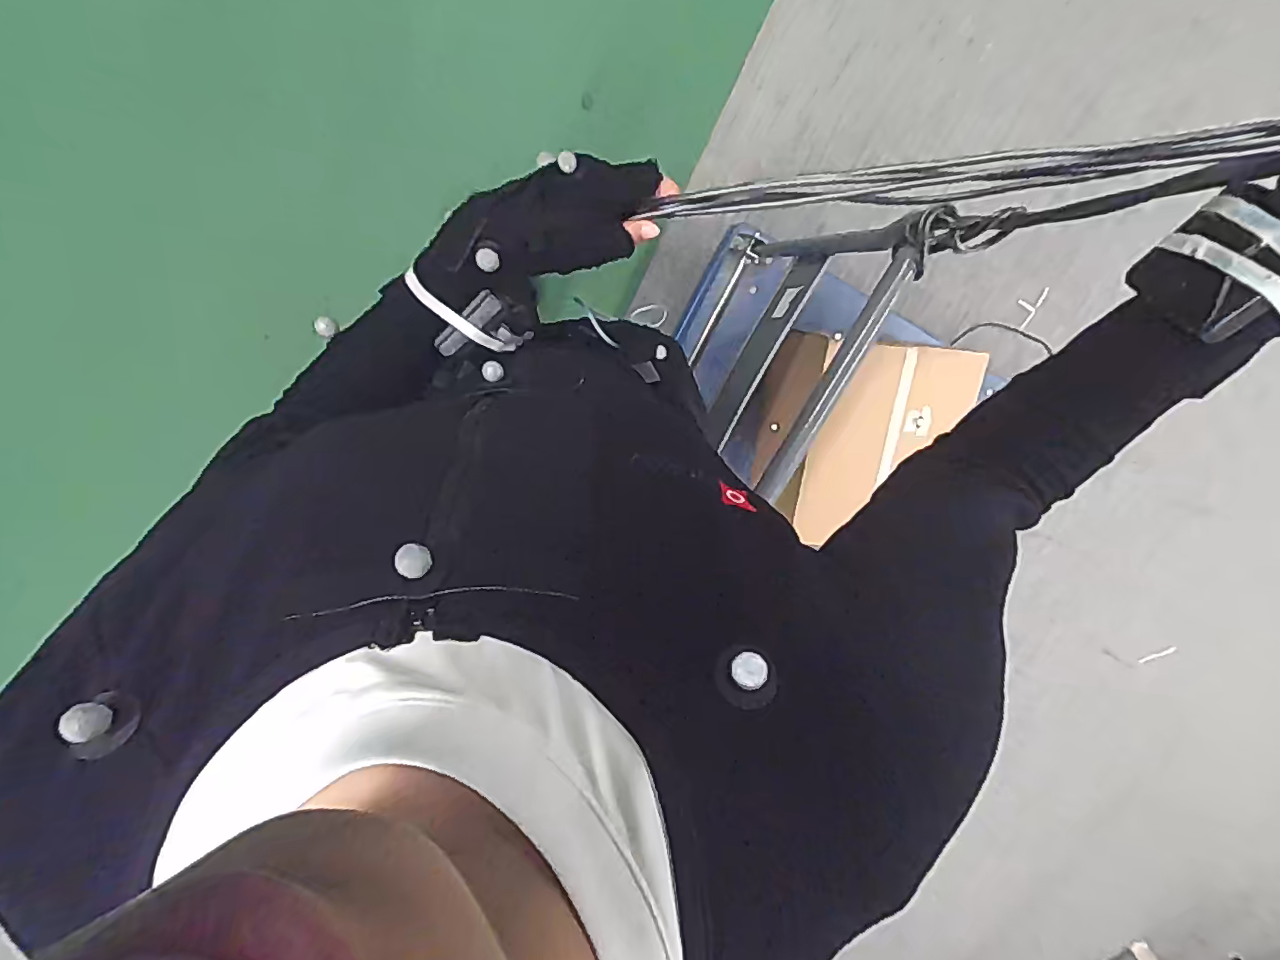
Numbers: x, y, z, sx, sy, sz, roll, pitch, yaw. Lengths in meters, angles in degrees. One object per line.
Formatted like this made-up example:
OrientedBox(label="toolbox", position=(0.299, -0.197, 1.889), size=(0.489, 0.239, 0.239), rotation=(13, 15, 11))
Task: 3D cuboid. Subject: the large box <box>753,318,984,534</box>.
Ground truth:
OrientedBox(label="large box", position=(0.460, -0.129, 1.188), size=(0.320, 0.320, 0.408), rotation=(4, 109, -7))
